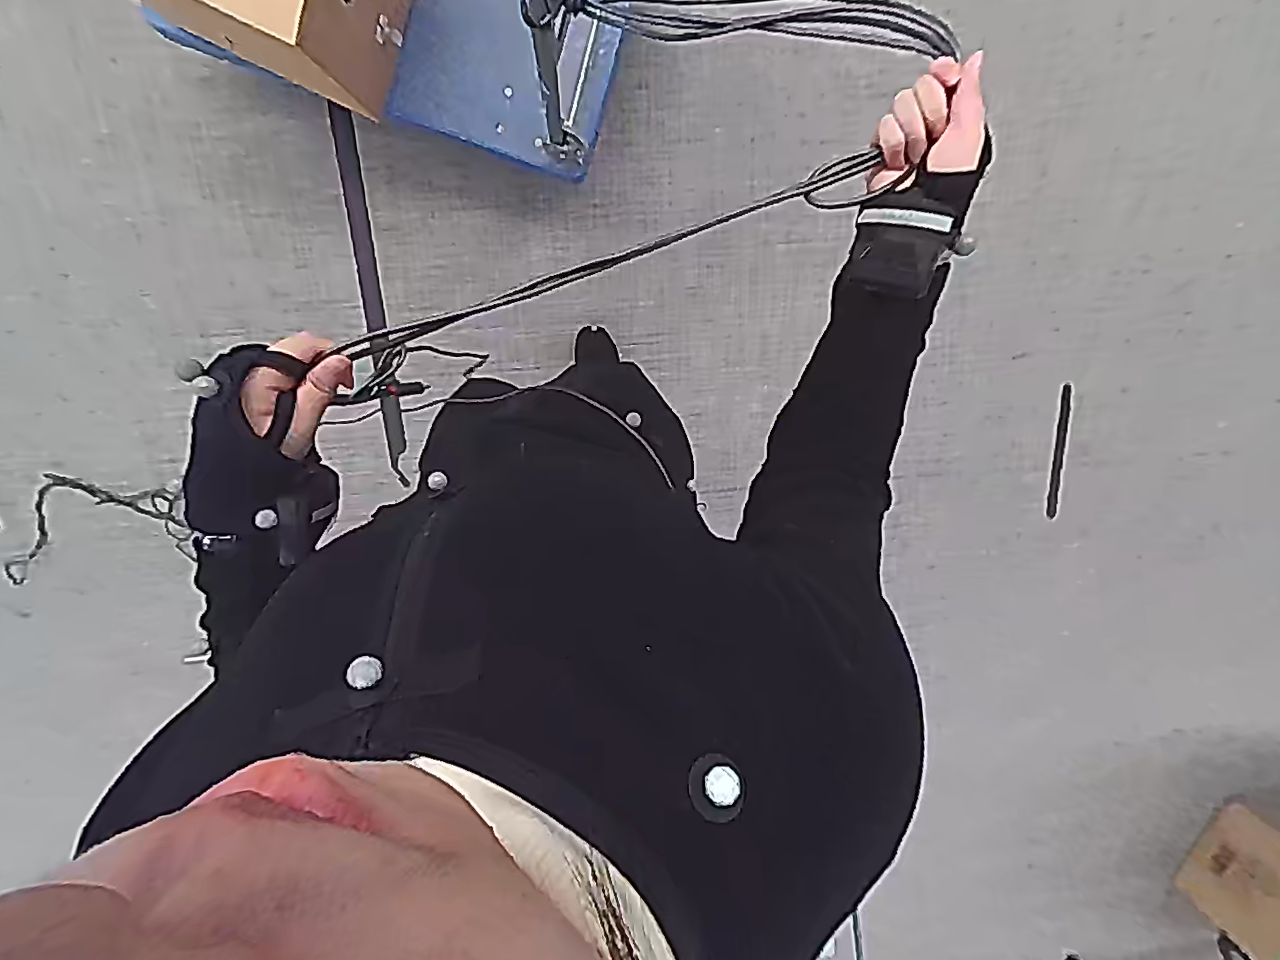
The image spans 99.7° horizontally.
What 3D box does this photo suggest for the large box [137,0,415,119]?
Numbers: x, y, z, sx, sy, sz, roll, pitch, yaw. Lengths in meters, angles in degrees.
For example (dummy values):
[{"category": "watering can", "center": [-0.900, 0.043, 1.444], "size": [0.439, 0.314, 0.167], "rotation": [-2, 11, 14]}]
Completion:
[{"category": "large box", "center": [-0.629, -0.878, 0.876], "size": [0.408, 0.320, 0.320], "rotation": [22, 103, -8]}]
